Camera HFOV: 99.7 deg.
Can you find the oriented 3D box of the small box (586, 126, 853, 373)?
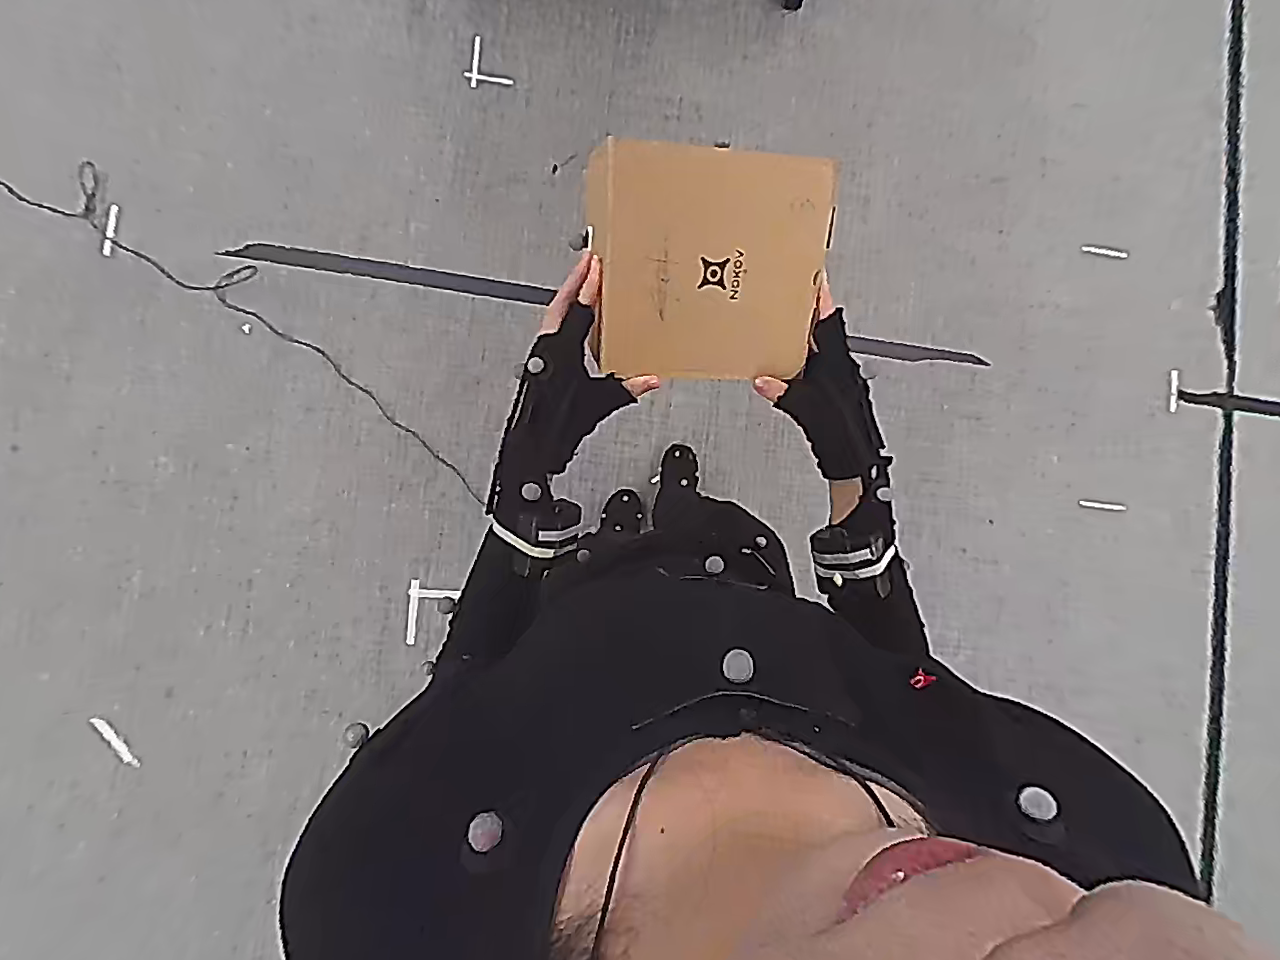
[{"bbox_3d":[0.050,-0.194,0.475,0.179,0.176,0.168,-2,114,-11],"label":"small box"}]
